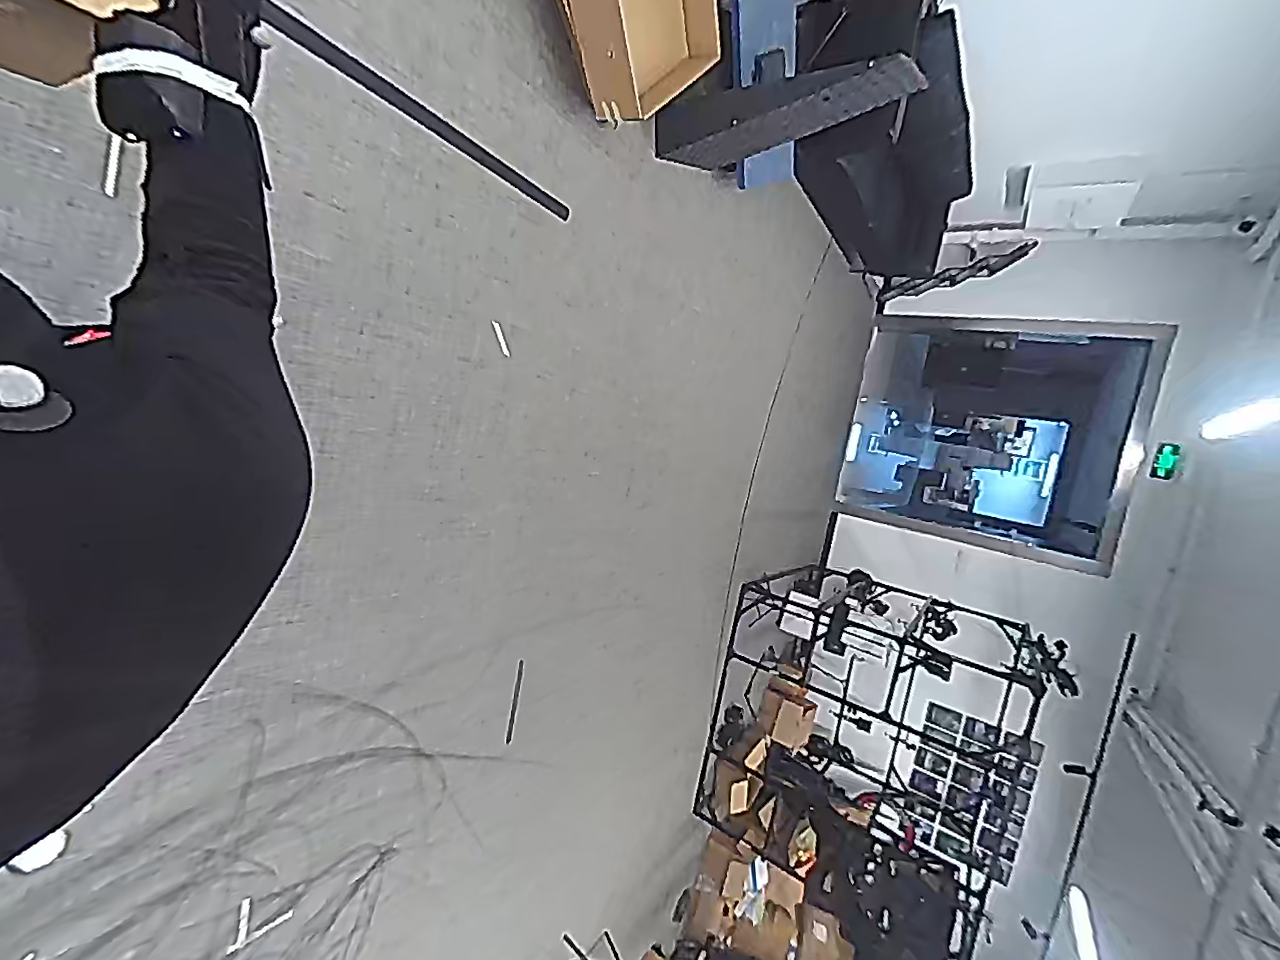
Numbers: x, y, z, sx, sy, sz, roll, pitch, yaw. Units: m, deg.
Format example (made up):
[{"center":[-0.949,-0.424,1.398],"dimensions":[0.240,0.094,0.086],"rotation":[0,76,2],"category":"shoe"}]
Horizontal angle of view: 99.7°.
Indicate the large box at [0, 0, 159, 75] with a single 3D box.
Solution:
[{"center":[-0.546,-0.492,0.269],"dimensions":[0.408,0.320,0.320],"rotation":[-5,111,-57],"category":"large box"}]
